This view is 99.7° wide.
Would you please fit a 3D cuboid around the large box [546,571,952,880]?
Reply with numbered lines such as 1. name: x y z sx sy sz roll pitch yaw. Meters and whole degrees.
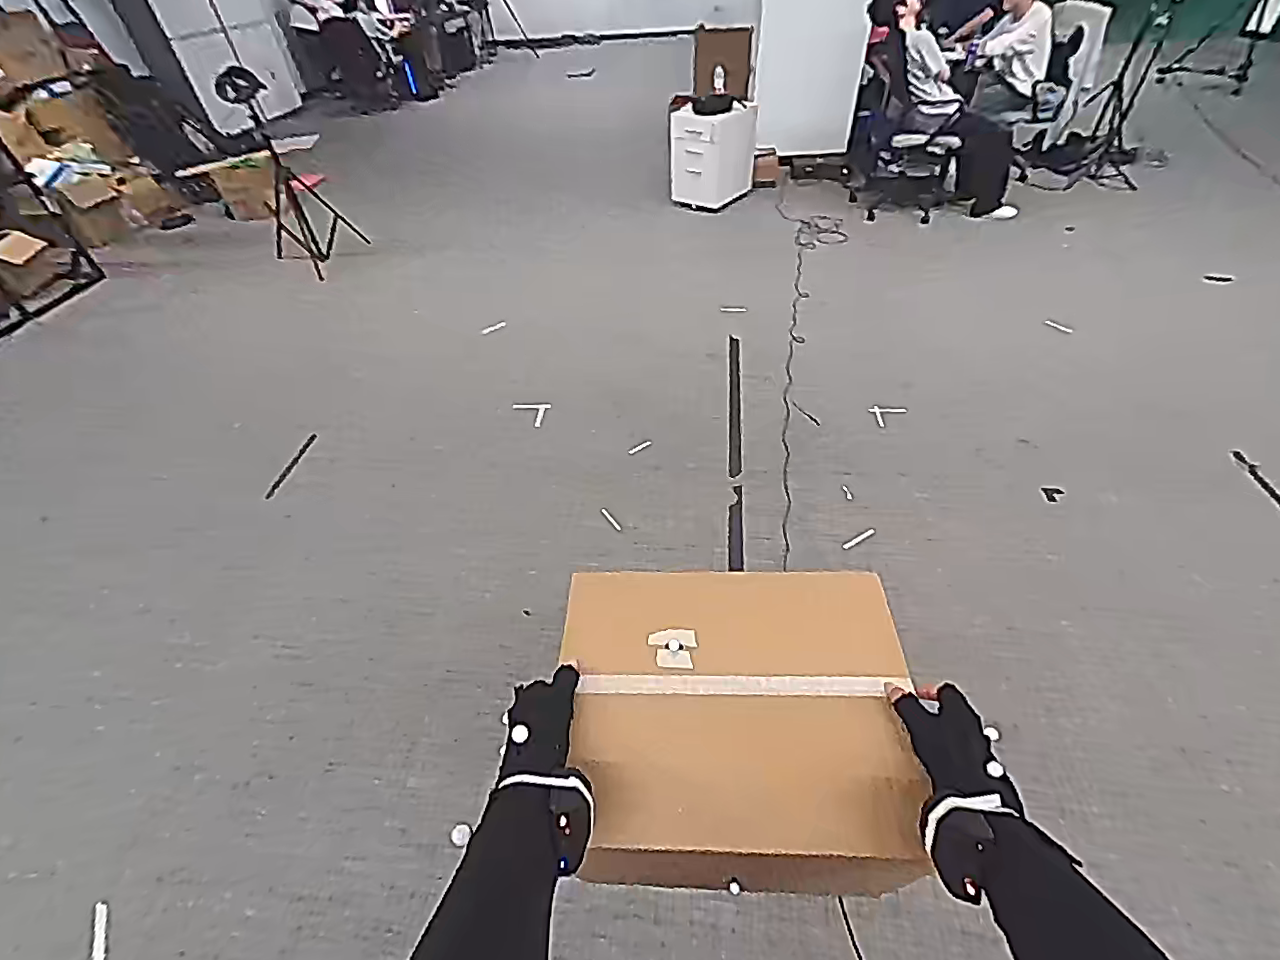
1. large box: 0.119 0.338 0.737 0.408 0.320 0.320 -1 47 5
